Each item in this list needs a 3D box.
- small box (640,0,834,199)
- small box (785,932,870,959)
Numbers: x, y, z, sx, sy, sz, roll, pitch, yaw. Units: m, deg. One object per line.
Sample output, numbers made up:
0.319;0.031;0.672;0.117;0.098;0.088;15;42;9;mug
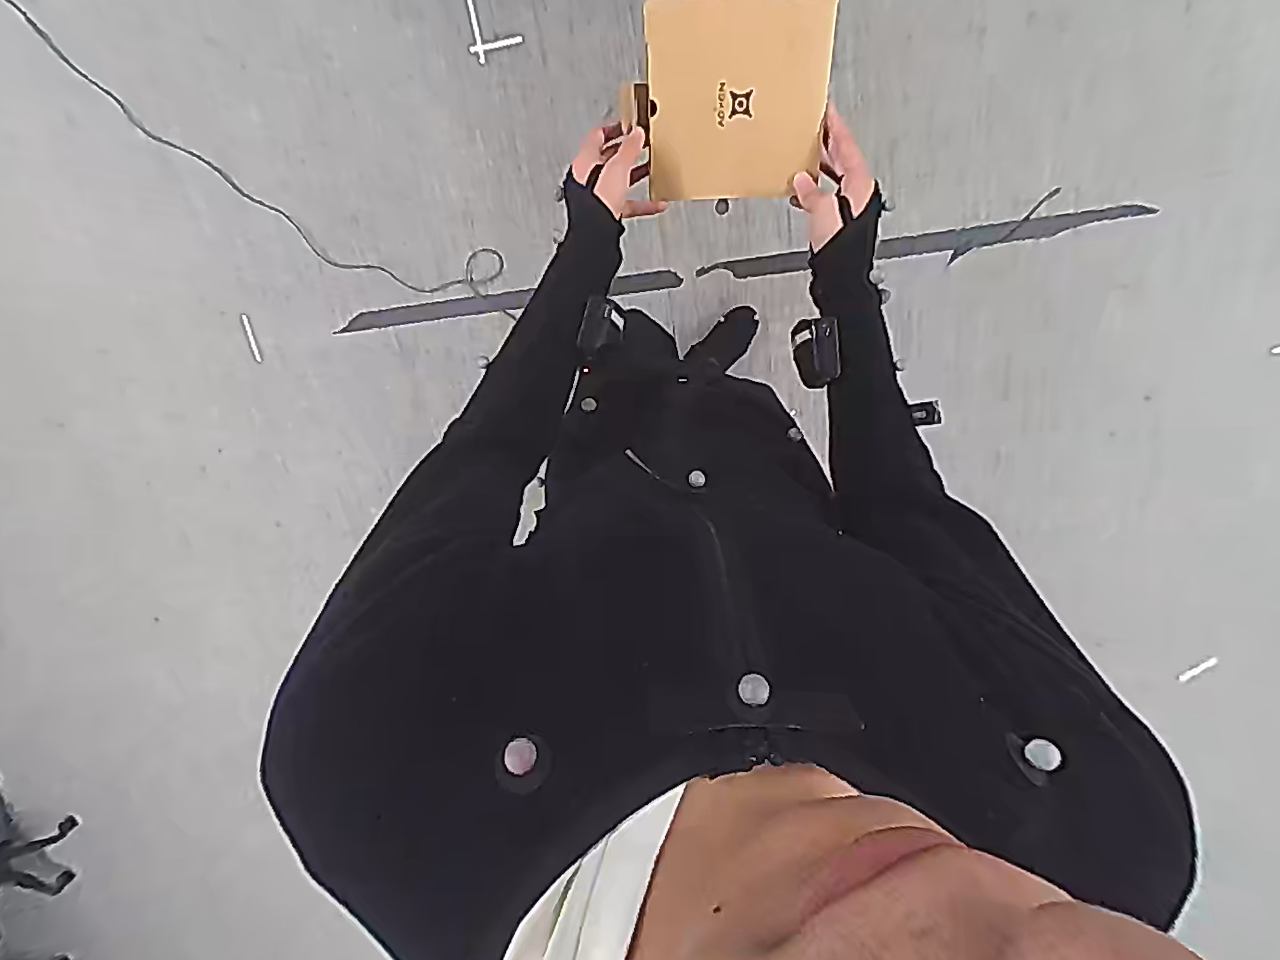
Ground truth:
0.095;-0.407;0.591;0.179;0.176;0.168;0;120;6;small box
0.406;1.115;1.147;0.168;0.176;0.179;13;110;1;small box
